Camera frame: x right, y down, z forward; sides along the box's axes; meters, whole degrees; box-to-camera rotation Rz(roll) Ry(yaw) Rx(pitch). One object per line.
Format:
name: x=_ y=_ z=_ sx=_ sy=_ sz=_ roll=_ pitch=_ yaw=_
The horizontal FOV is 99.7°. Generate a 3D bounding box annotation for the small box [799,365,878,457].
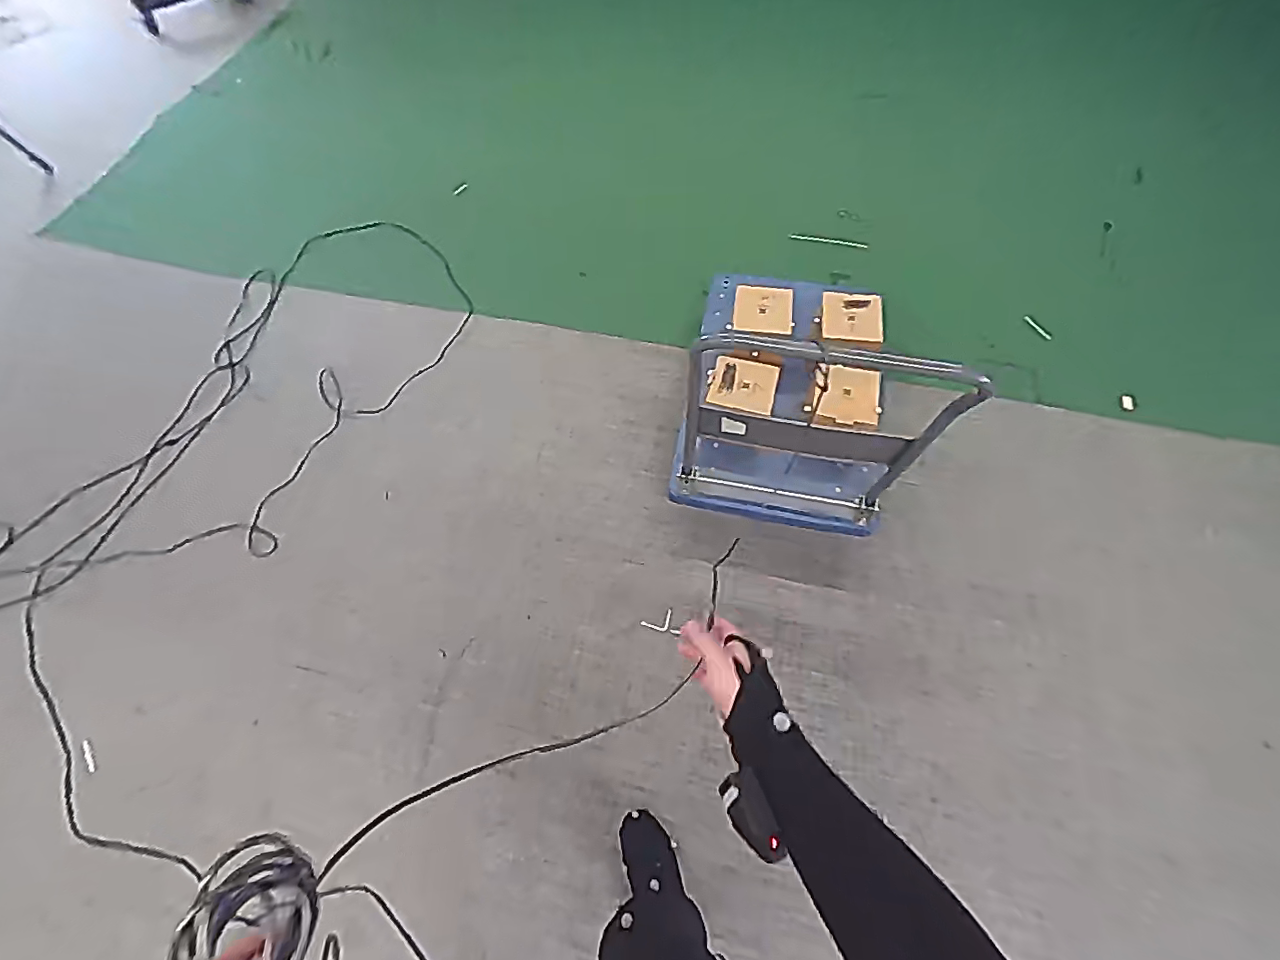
small box: x=0.548 y=-0.189 z=1.507 sx=0.168 sy=0.176 sz=0.179 roll=11 pitch=66 yaw=8

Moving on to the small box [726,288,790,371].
small box: x=0.356 y=-0.453 z=1.647 sx=0.168 sy=0.176 sz=0.179 roll=7 pitch=64 yaw=6

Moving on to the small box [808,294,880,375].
small box: x=0.605 y=-0.428 z=1.620 sx=0.168 sy=0.176 sz=0.179 roll=6 pitch=65 yaw=7
